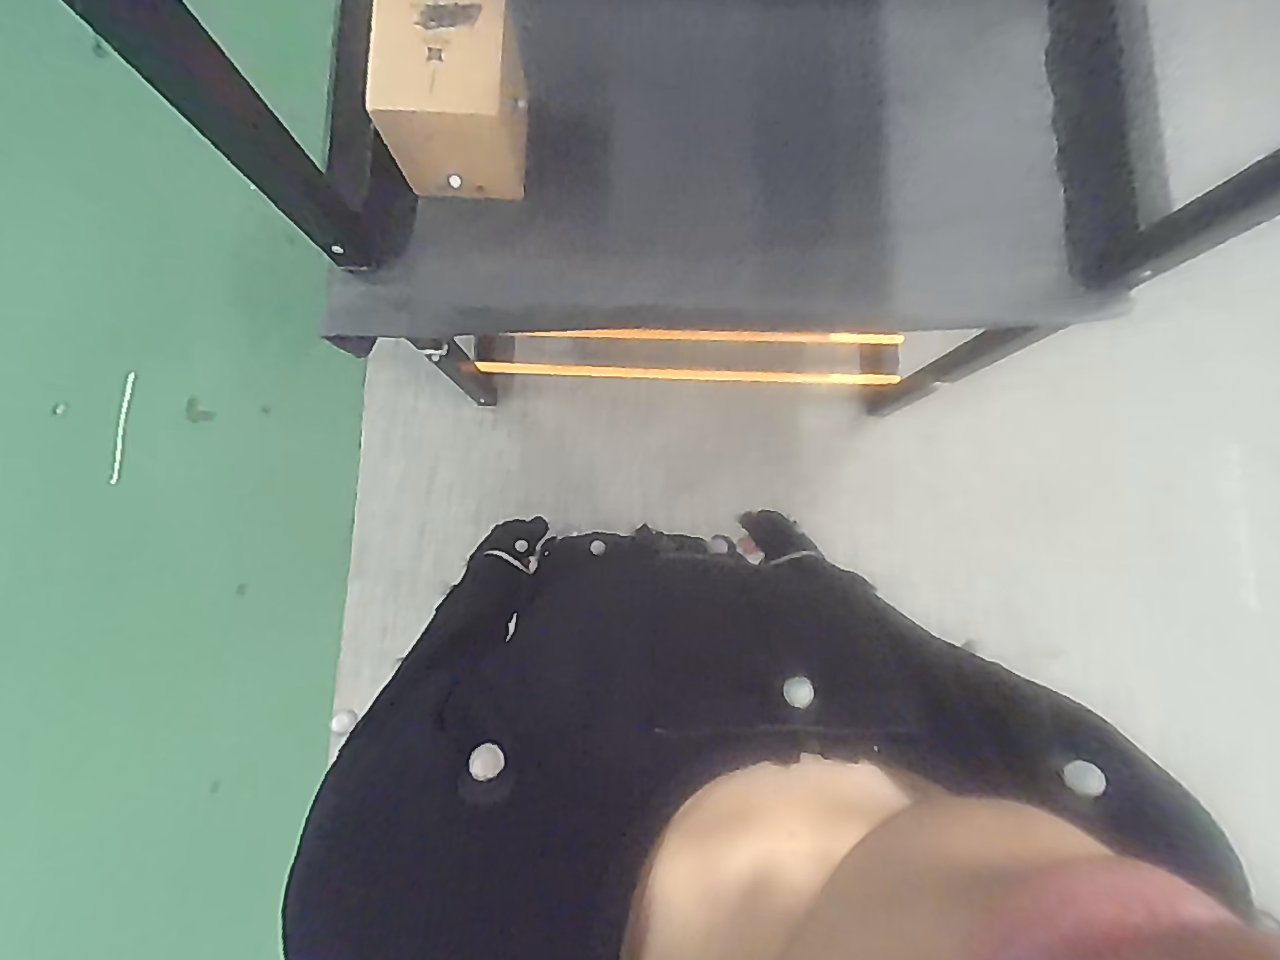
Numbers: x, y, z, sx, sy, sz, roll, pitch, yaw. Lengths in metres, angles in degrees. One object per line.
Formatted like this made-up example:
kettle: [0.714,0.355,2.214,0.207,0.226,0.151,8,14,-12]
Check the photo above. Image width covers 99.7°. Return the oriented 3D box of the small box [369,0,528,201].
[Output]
small box: [-0.254,-0.527,0.759,0.168,0.176,0.179,1,83,-2]
